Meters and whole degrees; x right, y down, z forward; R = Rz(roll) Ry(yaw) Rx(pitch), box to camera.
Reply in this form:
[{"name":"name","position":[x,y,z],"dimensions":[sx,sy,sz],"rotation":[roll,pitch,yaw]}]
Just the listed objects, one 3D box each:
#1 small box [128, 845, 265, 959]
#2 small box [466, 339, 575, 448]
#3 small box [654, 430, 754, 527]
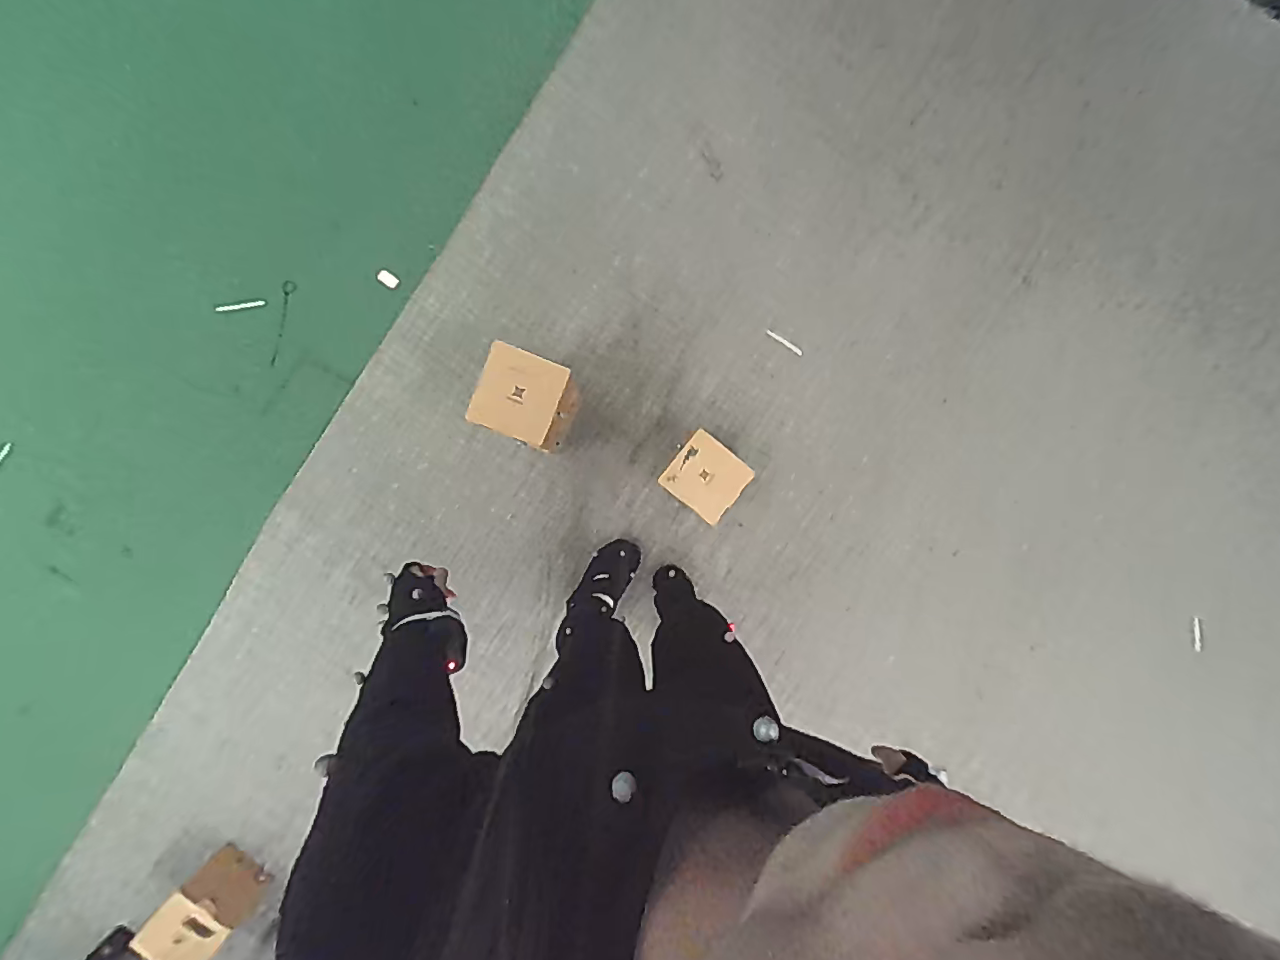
[{"name":"small box","position":[-1.090,1.071,1.350],"dimensions":[0.168,0.176,0.179],"rotation":[41,91,-2]},{"name":"small box","position":[-0.247,-0.175,1.168],"dimensions":[0.168,0.176,0.179],"rotation":[23,90,-3]},{"name":"small box","position":[0.152,-0.008,1.351],"dimensions":[0.179,0.176,0.168],"rotation":[40,90,-3]}]
